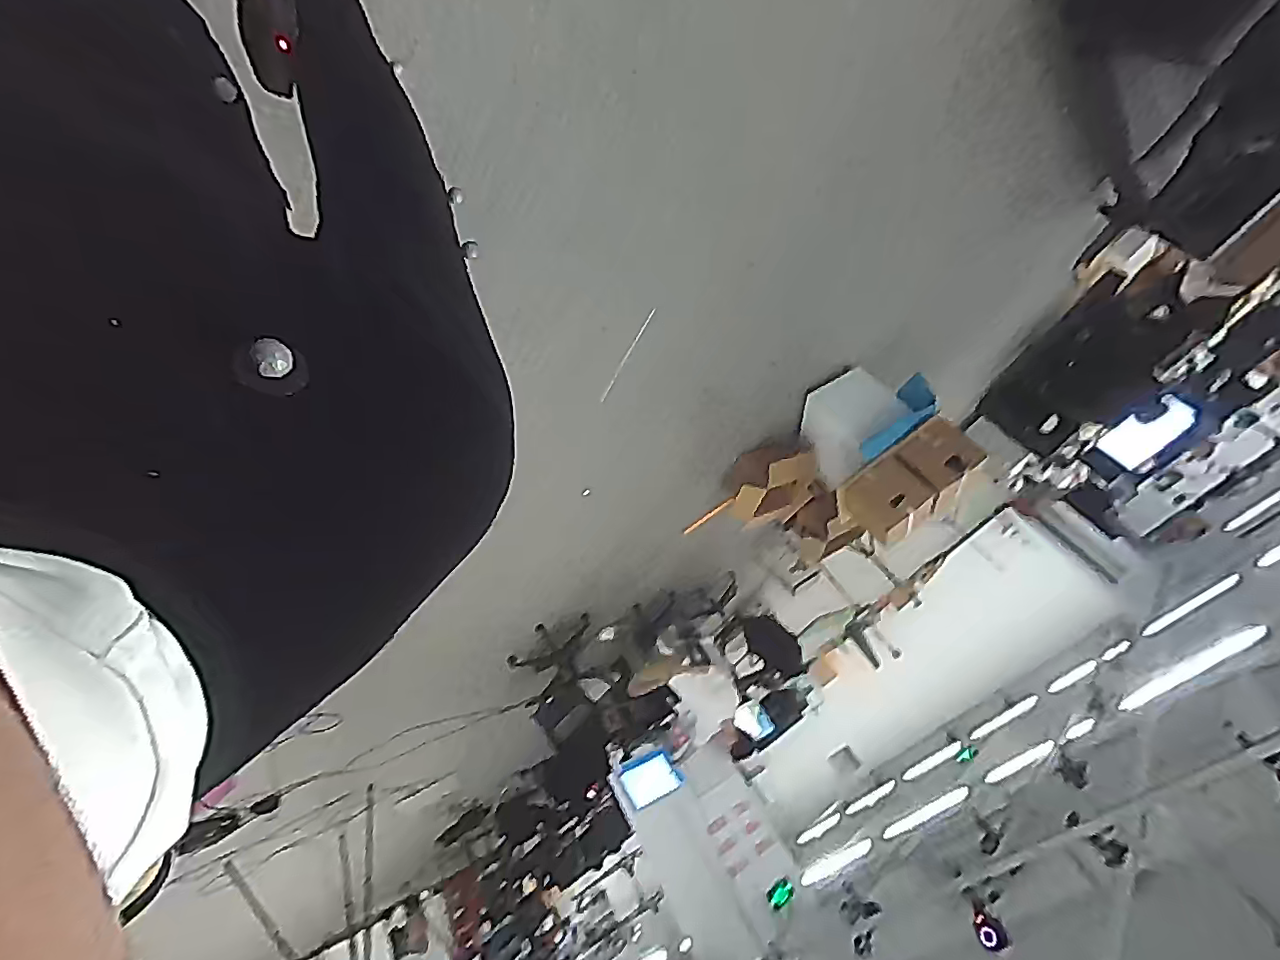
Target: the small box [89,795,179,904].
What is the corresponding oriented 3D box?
[{"bbox_3d":[-1.373,0.989,1.465,0.168,0.176,0.179,3,131,-46],"label":"small box"}]
